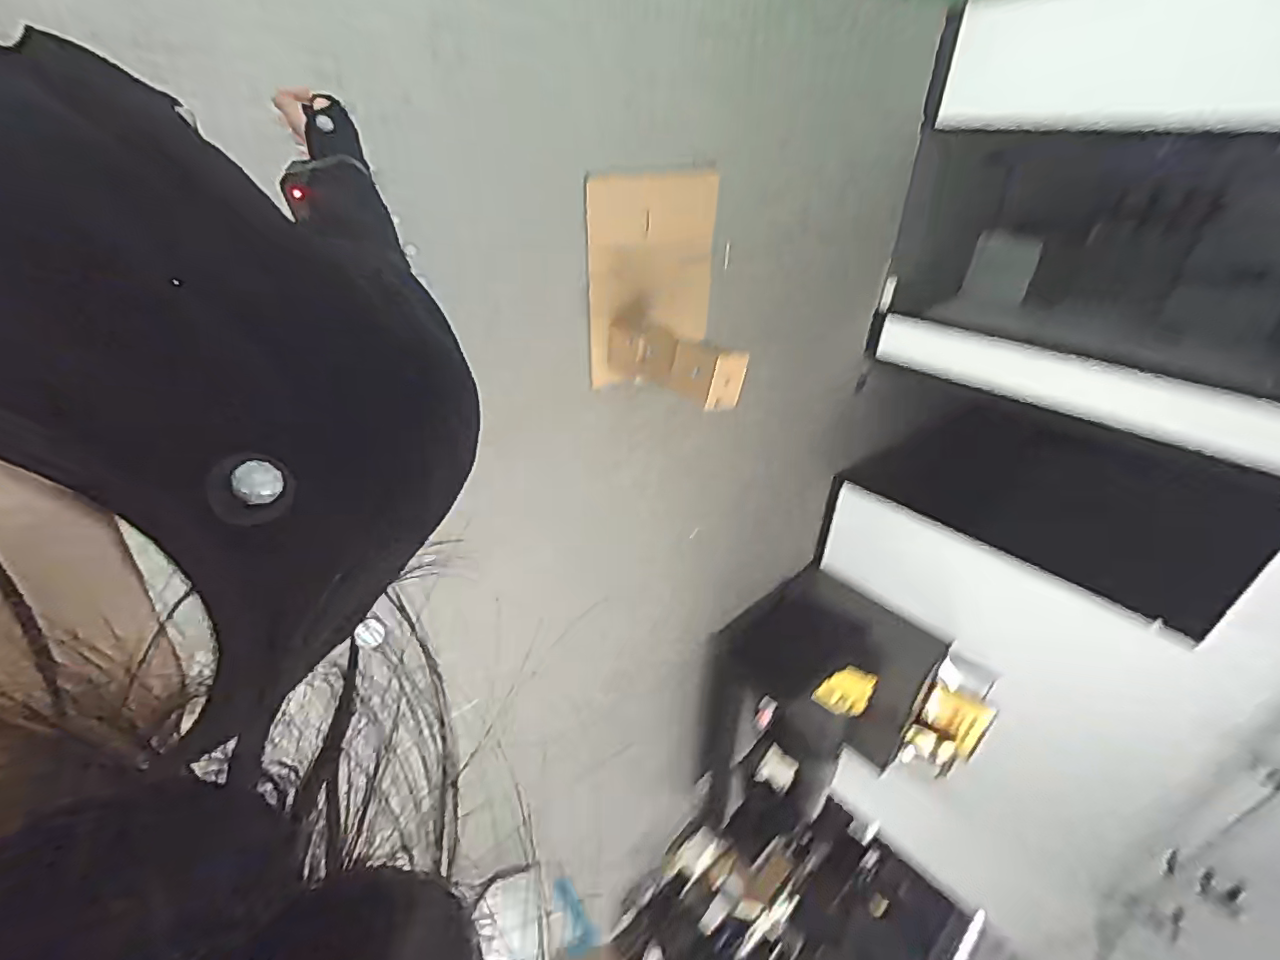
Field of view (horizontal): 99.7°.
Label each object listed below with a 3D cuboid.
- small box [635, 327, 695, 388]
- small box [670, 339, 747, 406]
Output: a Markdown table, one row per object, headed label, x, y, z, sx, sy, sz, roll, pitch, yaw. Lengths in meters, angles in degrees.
| label | x | y | z | sx | sy | sz | roll | pitch | yaw |
| --- | --- | --- | --- | --- | --- | --- | --- | --- | --- |
| small box | 0.116 | -0.417 | 1.863 | 0.179 | 0.176 | 0.168 | -4 | 118 | -46 |
| small box | 0.217 | -0.353 | 1.751 | 0.168 | 0.176 | 0.179 | -14 | 124 | -42 |
